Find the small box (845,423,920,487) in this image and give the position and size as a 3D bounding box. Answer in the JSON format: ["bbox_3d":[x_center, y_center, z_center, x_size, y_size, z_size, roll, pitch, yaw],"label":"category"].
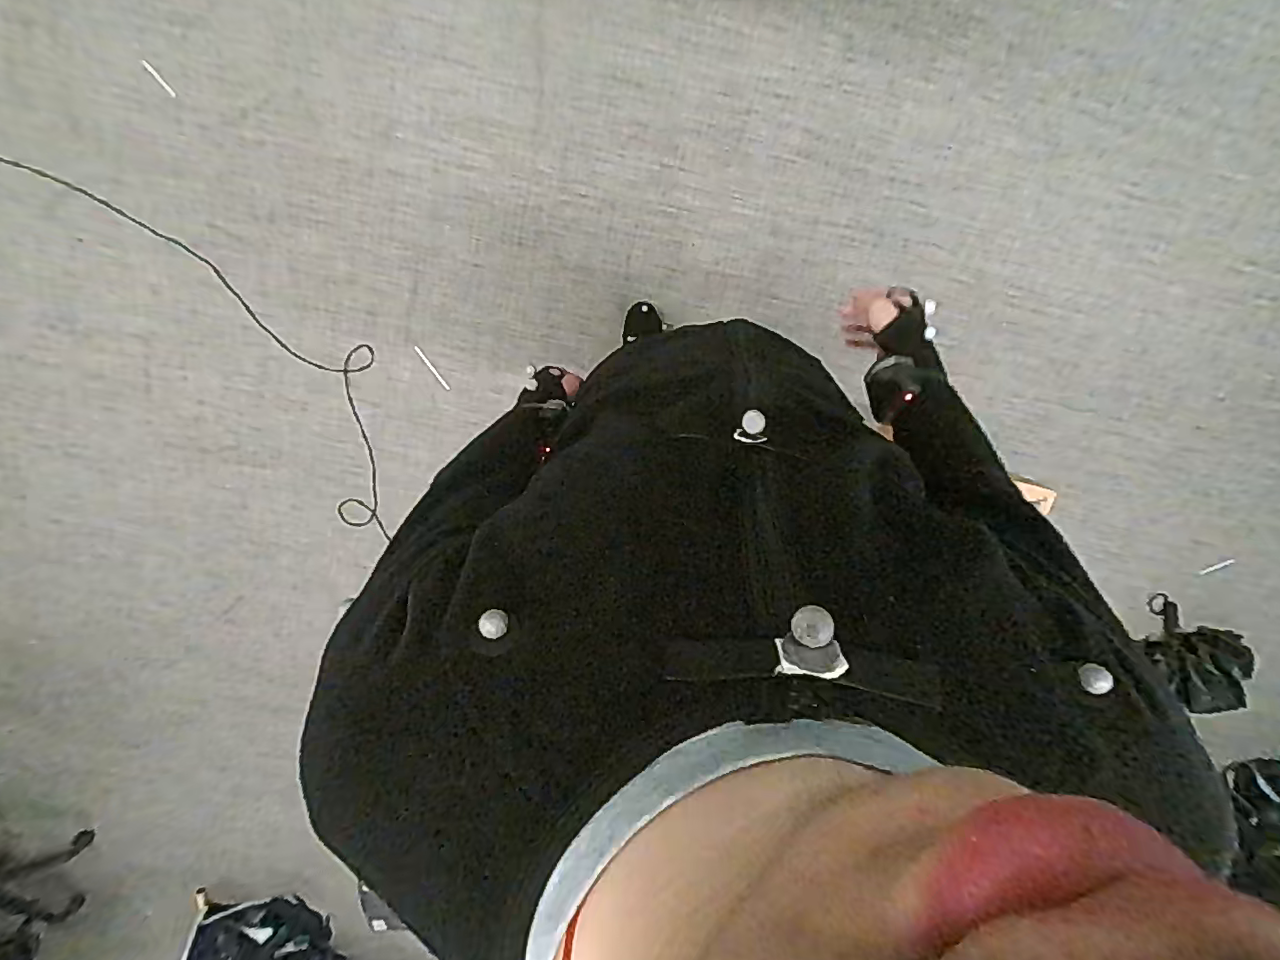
[{"bbox_3d":[0.713,-0.048,1.516,0.179,0.176,0.168,22,106,-7],"label":"small box"}]

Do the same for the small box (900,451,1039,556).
[{"bbox_3d":[0.716,0.044,1.202,0.179,0.176,0.168,15,106,-5],"label":"small box"}]
